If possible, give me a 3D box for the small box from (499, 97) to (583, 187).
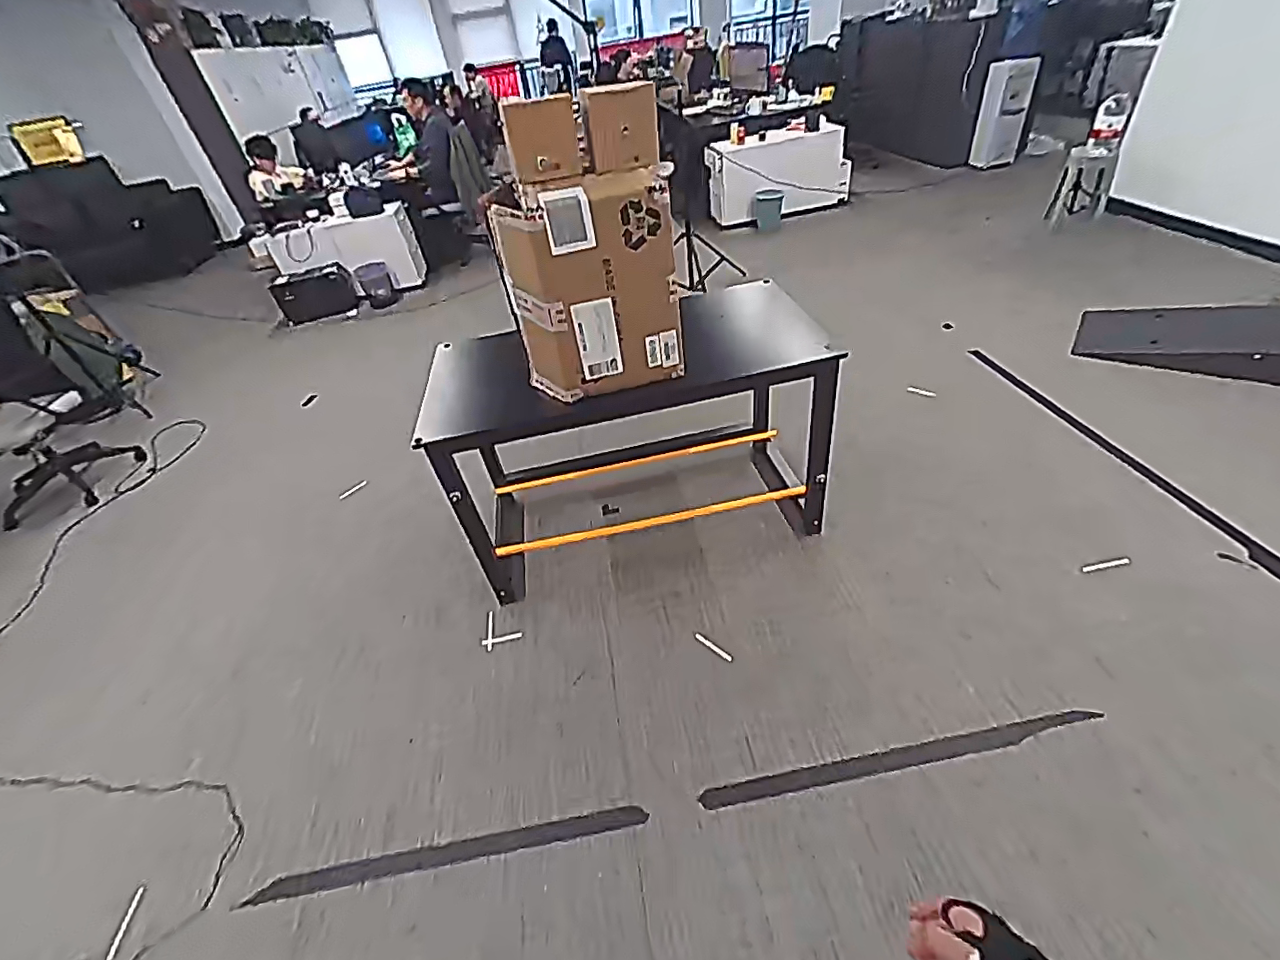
[{"bbox_3d":[-0.252,-0.857,1.371,0.168,0.176,0.179,-16,39,-8],"label":"small box"}]
